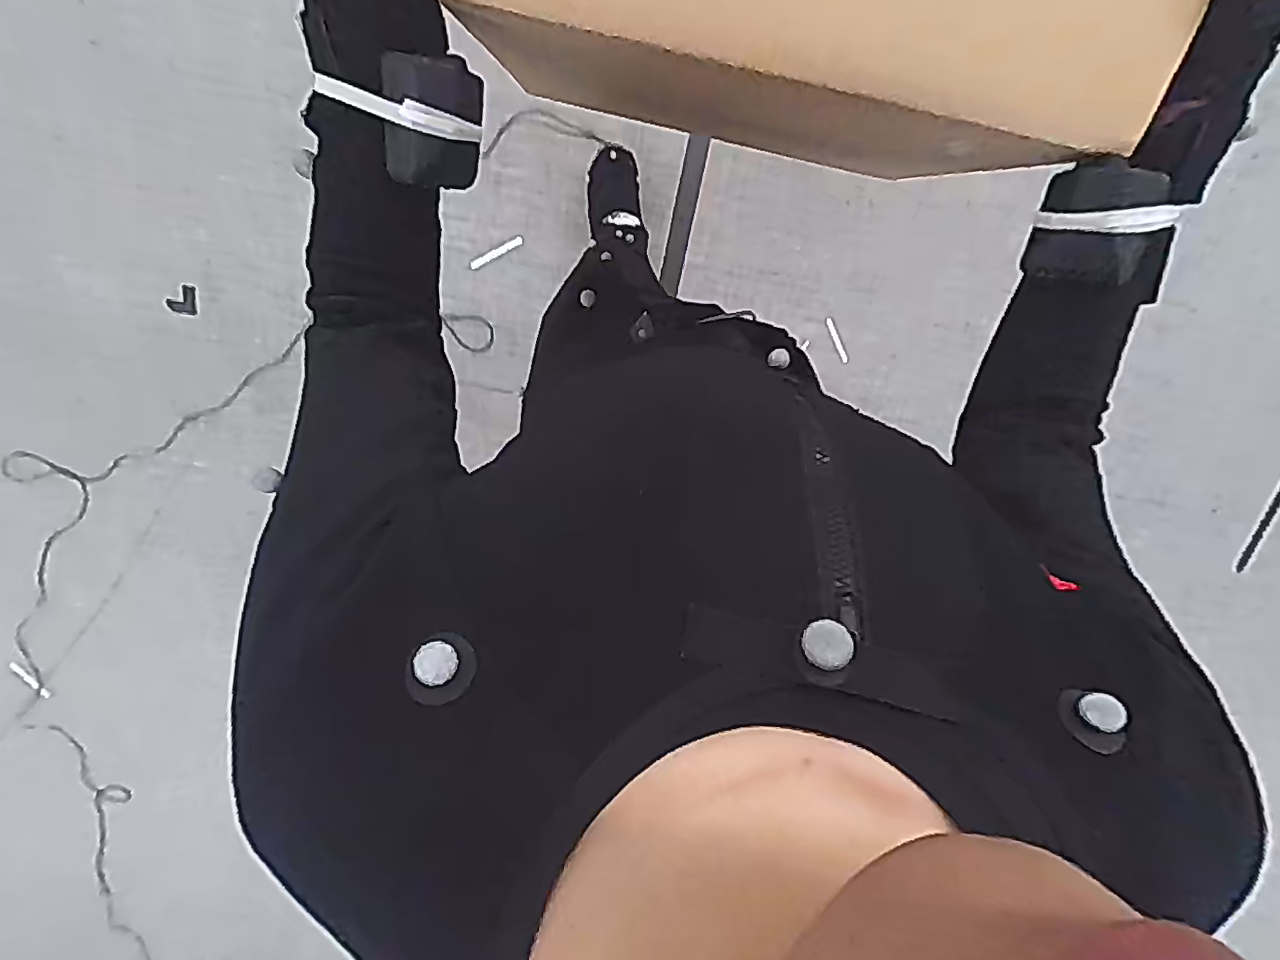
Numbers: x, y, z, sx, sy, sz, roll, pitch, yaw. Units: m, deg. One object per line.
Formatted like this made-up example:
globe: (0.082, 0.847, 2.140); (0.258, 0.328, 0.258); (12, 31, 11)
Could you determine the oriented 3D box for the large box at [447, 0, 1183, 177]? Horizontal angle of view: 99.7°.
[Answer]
large box: (0.109, -0.425, 0.374); (0.408, 0.320, 0.320); (9, 117, -6)
